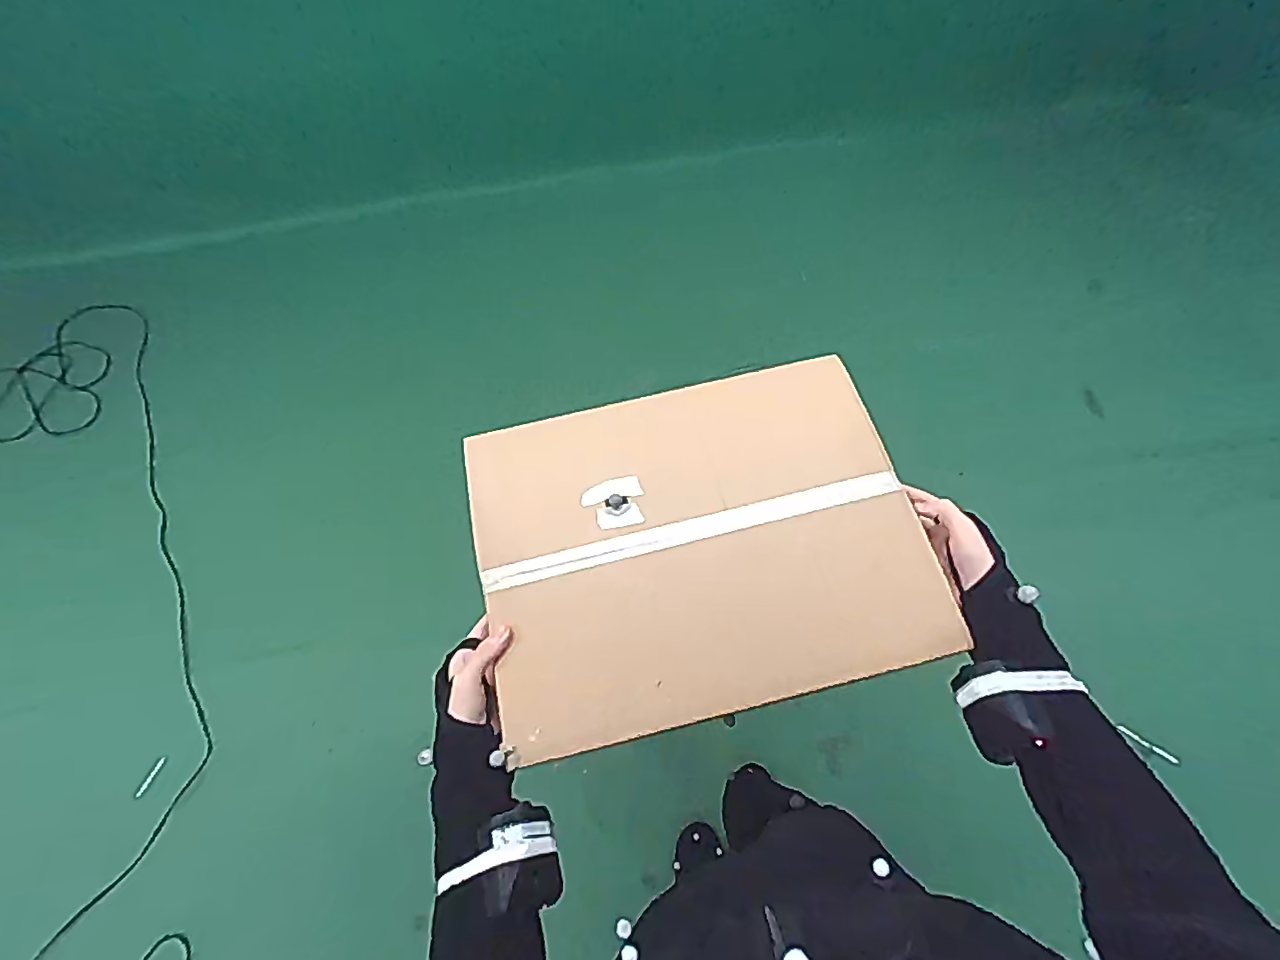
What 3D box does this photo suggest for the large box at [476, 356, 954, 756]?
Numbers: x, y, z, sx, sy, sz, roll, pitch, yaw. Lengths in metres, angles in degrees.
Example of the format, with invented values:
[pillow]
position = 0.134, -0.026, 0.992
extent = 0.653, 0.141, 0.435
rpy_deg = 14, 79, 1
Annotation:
[large box]
position = 0.063, 0.104, 0.663
extent = 0.408, 0.320, 0.320
rpy_deg = -14, 67, -2
